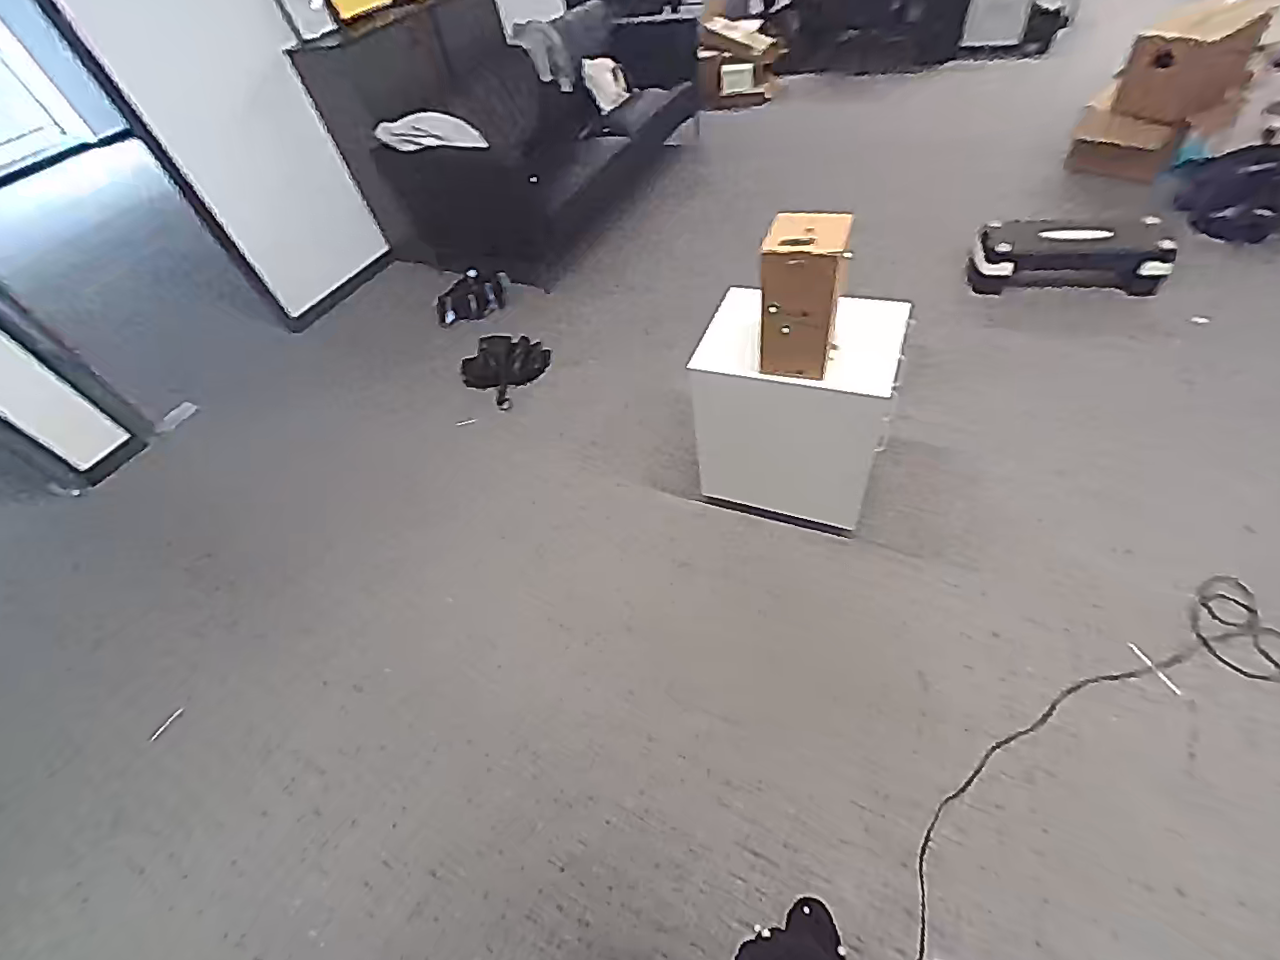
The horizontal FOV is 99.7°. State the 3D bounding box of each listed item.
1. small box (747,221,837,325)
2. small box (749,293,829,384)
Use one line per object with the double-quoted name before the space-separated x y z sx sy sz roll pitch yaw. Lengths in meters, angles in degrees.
"small box" 0.349 -0.476 1.247 0.168 0.176 0.179 10 51 19
"small box" 0.374 -0.368 1.370 0.168 0.176 0.179 9 51 20
